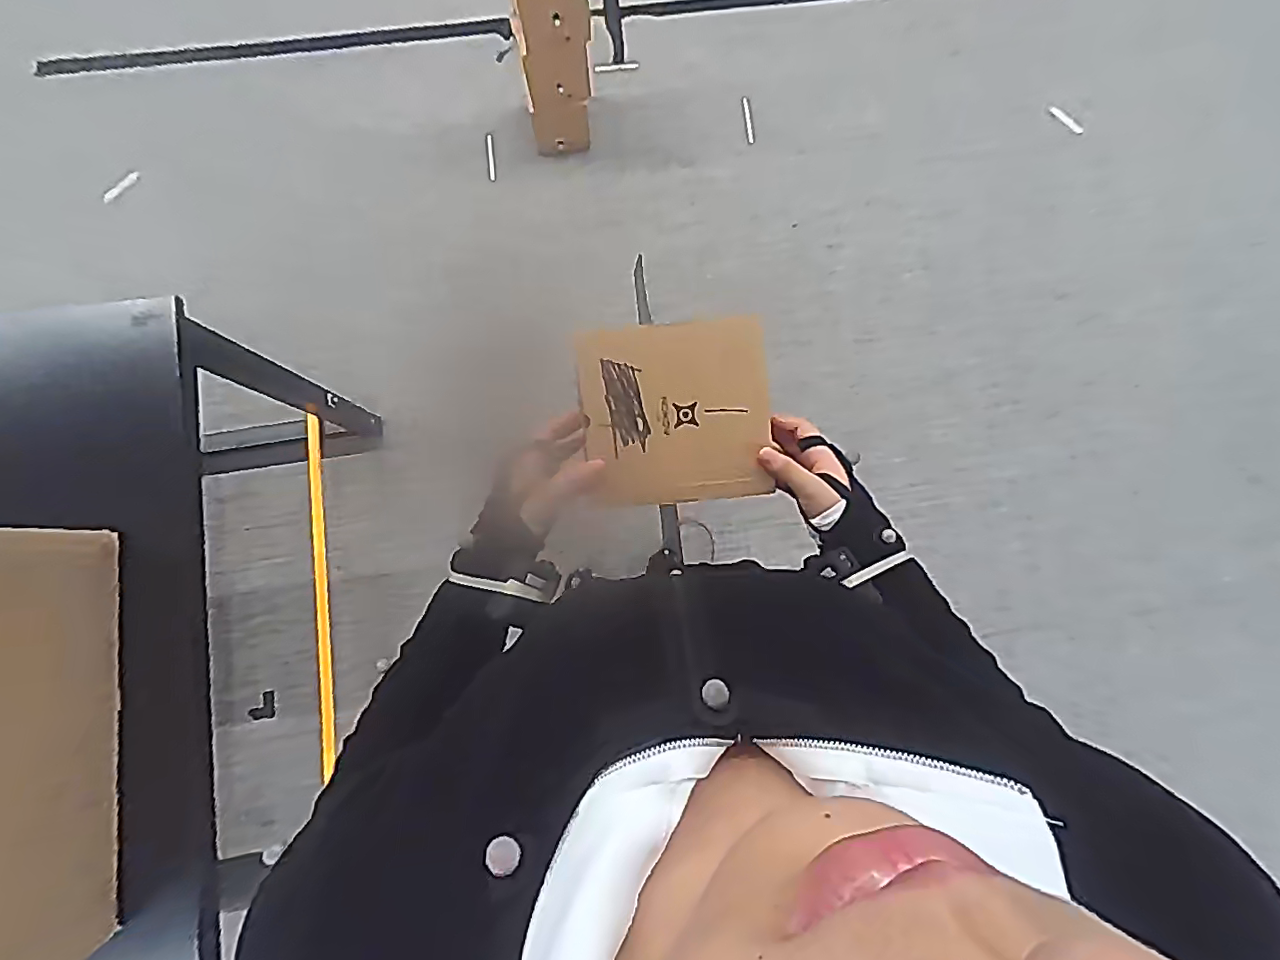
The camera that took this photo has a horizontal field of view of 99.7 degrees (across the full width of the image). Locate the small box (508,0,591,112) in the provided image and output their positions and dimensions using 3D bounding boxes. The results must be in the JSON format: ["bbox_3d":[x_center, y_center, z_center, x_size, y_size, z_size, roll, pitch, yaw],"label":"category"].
[{"bbox_3d":[-0.231,-1.120,1.417,0.168,0.176,0.179,-15,83,-2],"label":"small box"}]

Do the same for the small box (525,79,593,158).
[{"bbox_3d":[-0.235,-1.086,1.579,0.168,0.176,0.179,-10,84,-1],"label":"small box"}]

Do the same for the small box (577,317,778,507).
[{"bbox_3d":[0.033,-0.067,0.571,0.179,0.176,0.168,-5,96,-3],"label":"small box"}]

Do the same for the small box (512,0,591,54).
[{"bbox_3d":[-0.217,-1.139,1.255,0.168,0.176,0.179,-17,83,-2],"label":"small box"}]
